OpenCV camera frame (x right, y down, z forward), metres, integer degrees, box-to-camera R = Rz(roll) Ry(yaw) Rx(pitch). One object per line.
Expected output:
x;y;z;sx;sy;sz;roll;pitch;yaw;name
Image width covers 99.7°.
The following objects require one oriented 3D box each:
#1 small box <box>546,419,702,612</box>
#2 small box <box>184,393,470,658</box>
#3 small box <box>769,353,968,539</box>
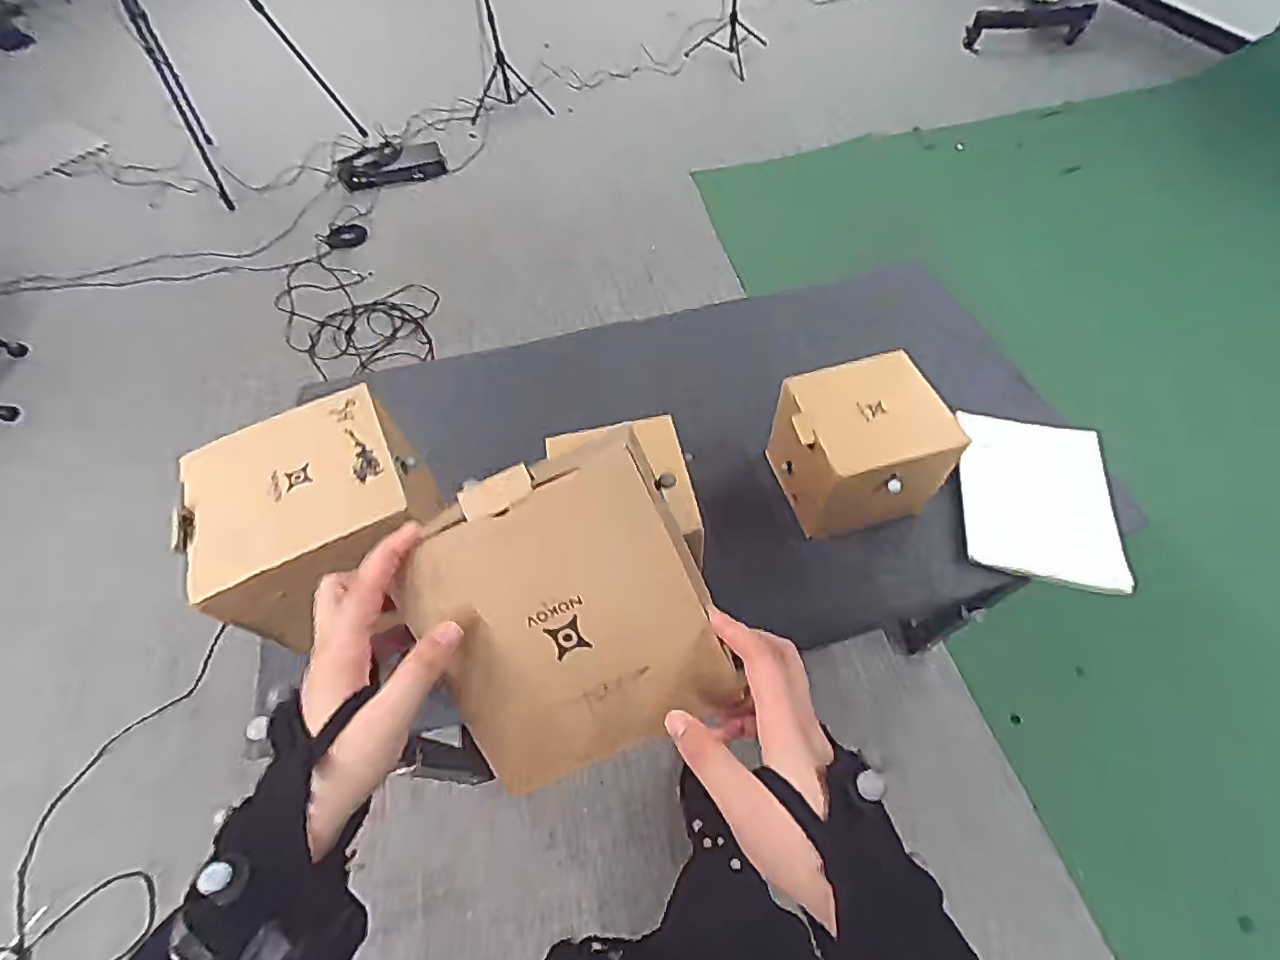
-0.019;0.051;0.714;0.168;0.176;0.179;-13;57;-2;small box
-0.300;0.052;0.541;0.179;0.176;0.168;-27;59;-11;small box
0.296;-0.042;0.747;0.179;0.176;0.168;-16;57;-4;small box
